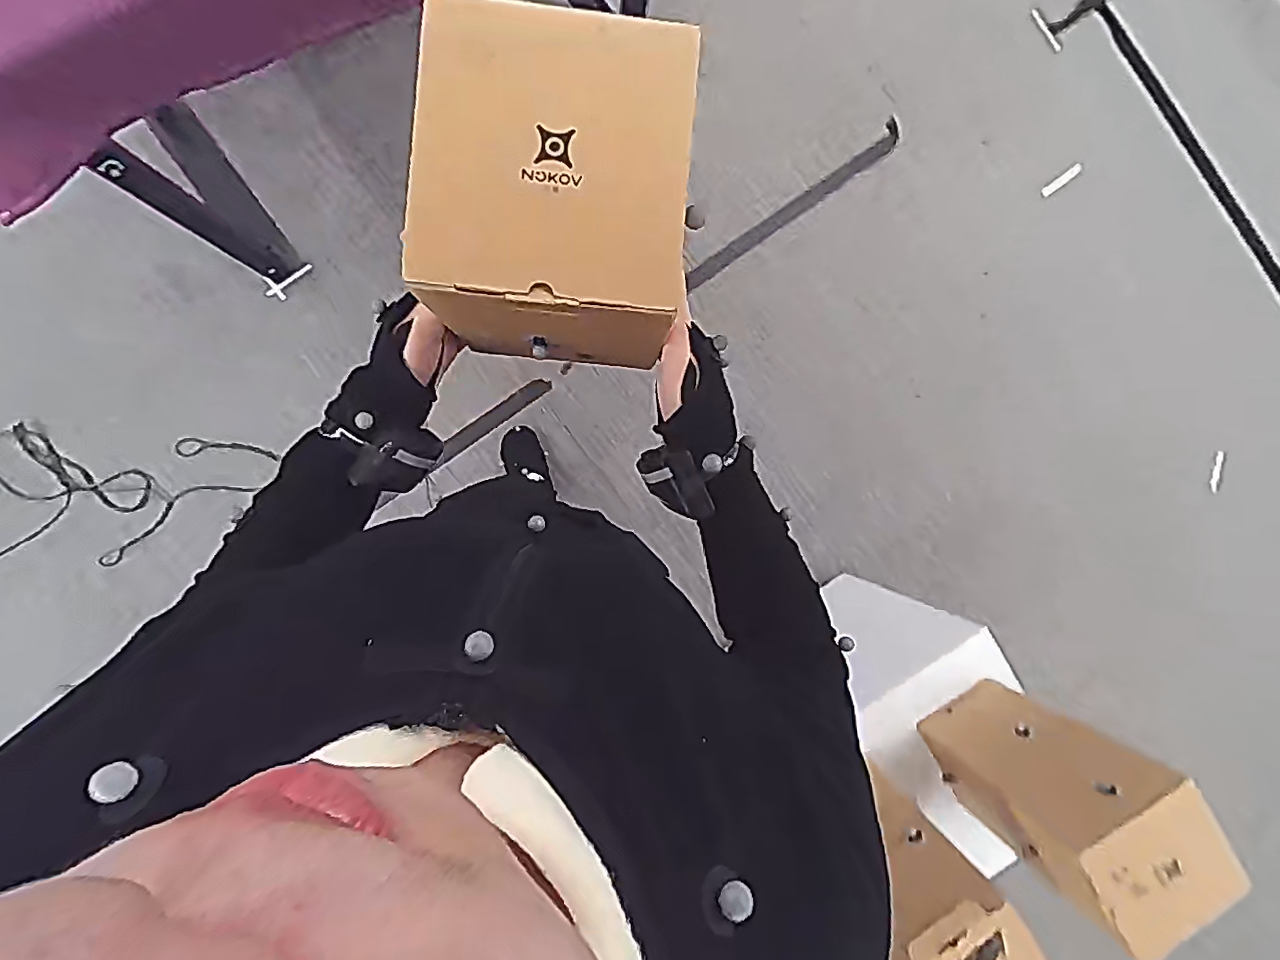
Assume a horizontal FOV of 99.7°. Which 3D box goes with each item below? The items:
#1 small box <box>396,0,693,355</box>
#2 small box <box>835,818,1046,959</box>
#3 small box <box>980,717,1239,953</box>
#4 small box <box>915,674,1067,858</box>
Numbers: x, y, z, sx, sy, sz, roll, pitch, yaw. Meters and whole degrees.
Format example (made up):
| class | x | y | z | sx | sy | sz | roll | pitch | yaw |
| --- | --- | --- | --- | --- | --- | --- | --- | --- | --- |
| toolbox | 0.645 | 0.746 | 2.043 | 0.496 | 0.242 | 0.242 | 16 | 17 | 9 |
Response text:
| class | x | y | z | sx | sy | sz | roll | pitch | yaw |
| --- | --- | --- | --- | --- | --- | --- | --- | --- | --- |
| small box | -0.062 | -0.203 | 0.401 | 0.168 | 0.176 | 0.179 | 4 | 92 | -4 |
| small box | 0.395 | 0.595 | 0.719 | 0.168 | 0.176 | 0.179 | -32 | 94 | -4 |
| small box | 0.620 | 0.461 | 0.736 | 0.179 | 0.176 | 0.168 | -30 | 93 | -4 |
| small box | 0.606 | 0.462 | 0.901 | 0.168 | 0.176 | 0.179 | -30 | 95 | -4 |
